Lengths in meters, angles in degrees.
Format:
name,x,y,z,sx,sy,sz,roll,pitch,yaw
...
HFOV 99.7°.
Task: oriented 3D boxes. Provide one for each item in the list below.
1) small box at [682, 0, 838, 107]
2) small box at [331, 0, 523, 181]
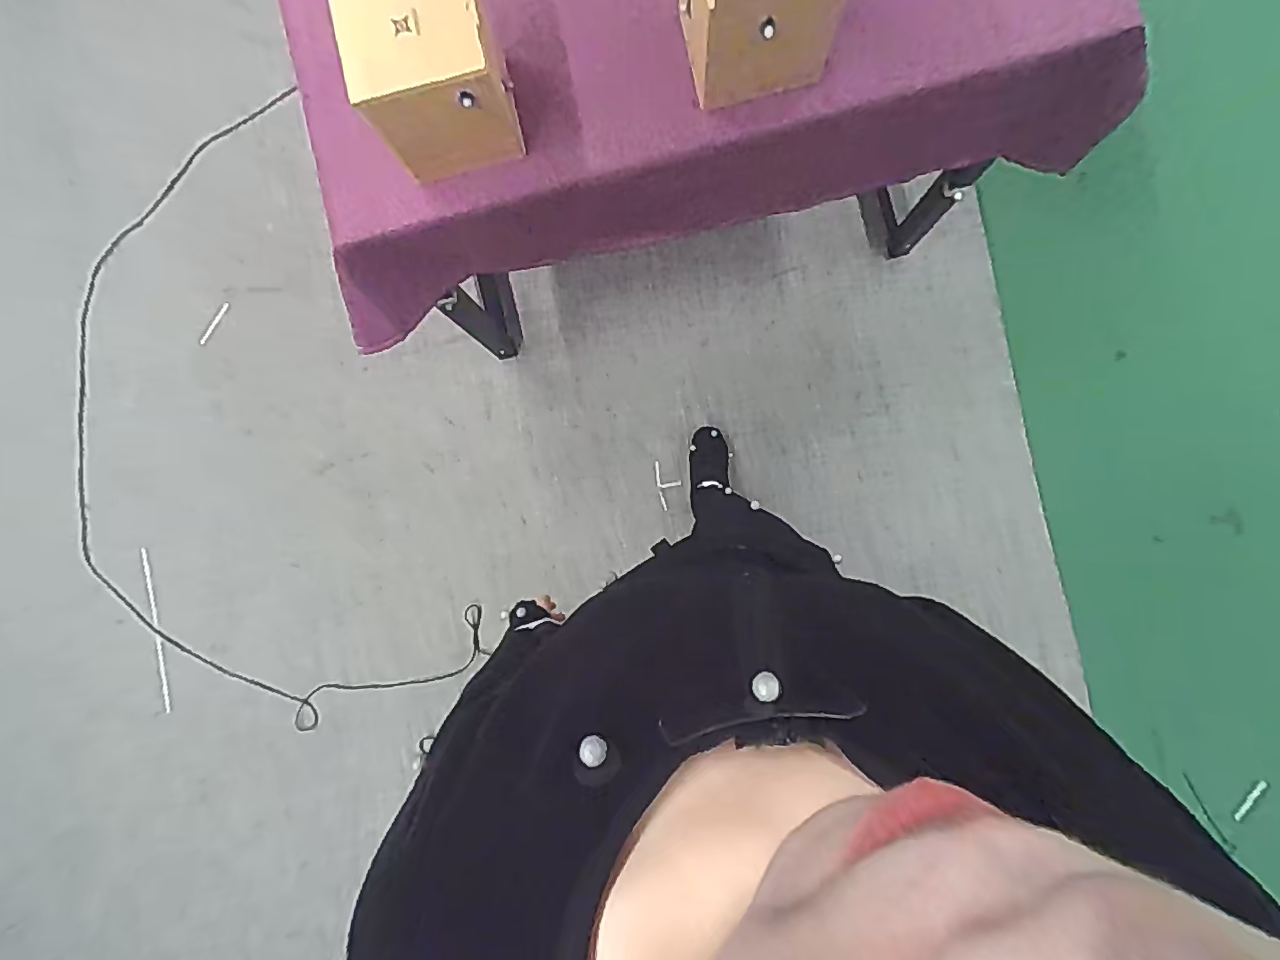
name,x,y,z,sx,sy,sz,roll,pitch,yaw
small box,0.151,-0.637,0.714,0.179,0.176,0.168,-11,87,3
small box,-0.278,-0.543,0.735,0.179,0.176,0.168,-13,87,2
